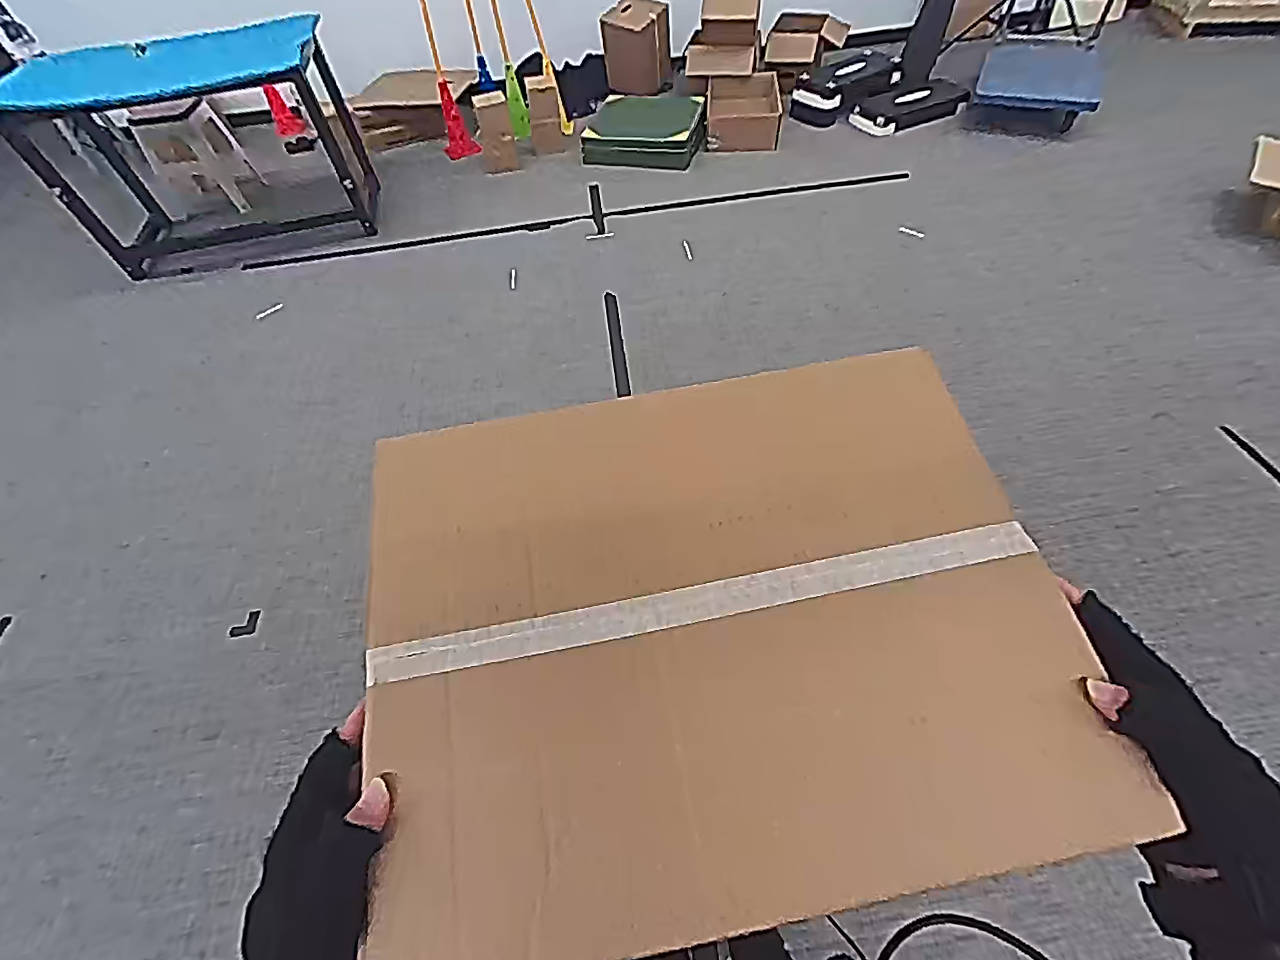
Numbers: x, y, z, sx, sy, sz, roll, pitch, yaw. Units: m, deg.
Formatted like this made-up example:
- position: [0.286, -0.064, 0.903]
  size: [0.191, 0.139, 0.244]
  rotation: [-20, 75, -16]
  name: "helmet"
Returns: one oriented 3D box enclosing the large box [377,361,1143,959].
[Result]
- position: [0.047, 0.146, 0.466]
  size: [0.408, 0.320, 0.320]
  rotation: [-11, 63, -2]
  name: "large box"
